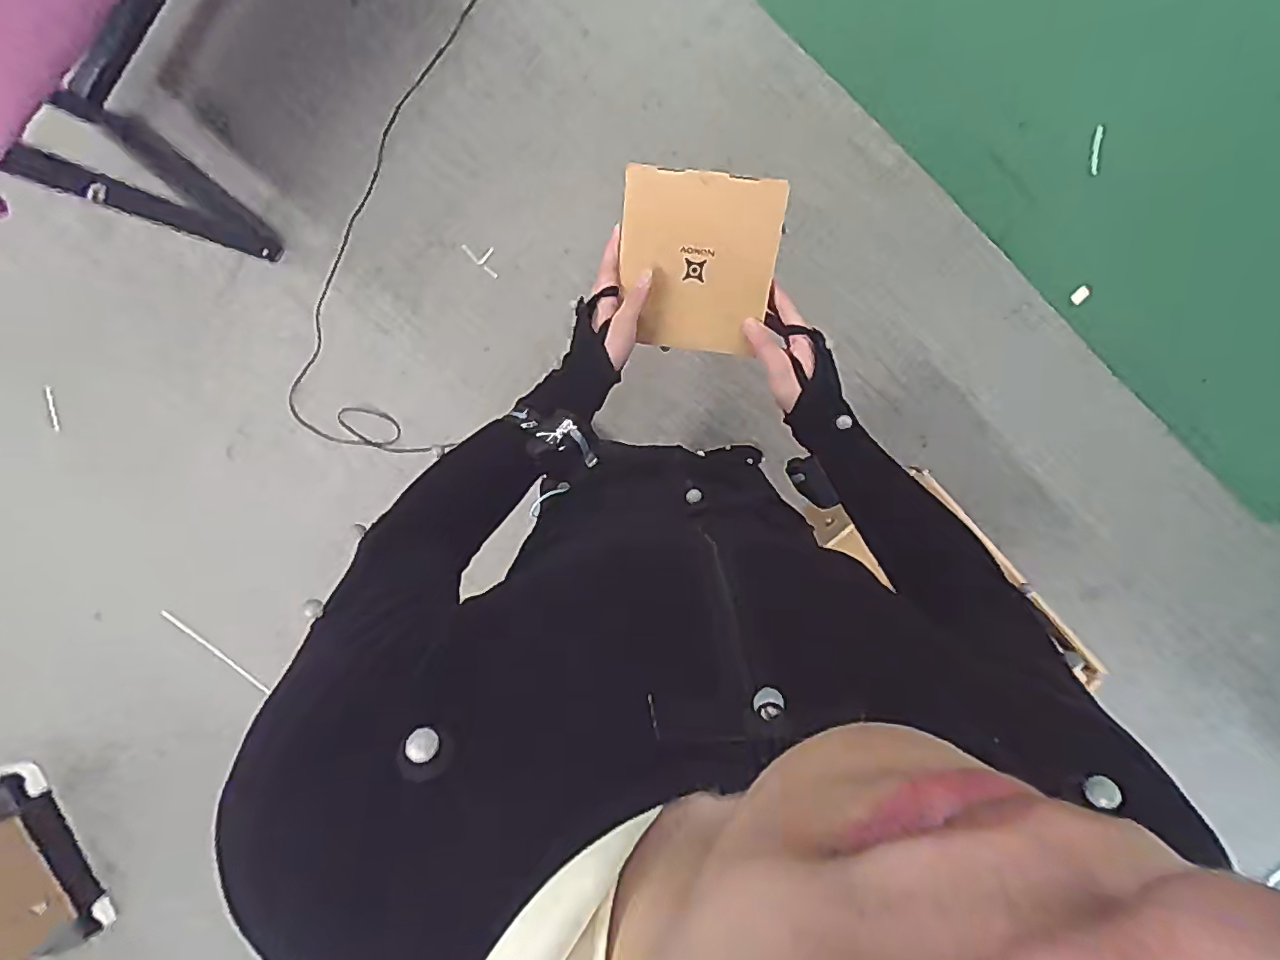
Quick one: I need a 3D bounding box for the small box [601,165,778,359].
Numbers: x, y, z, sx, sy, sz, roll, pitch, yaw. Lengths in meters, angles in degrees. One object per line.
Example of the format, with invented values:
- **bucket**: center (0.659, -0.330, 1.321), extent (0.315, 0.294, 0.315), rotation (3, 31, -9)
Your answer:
- **small box**: center (0.053, -0.250, 0.636), extent (0.168, 0.176, 0.179), rotation (7, 111, 2)
